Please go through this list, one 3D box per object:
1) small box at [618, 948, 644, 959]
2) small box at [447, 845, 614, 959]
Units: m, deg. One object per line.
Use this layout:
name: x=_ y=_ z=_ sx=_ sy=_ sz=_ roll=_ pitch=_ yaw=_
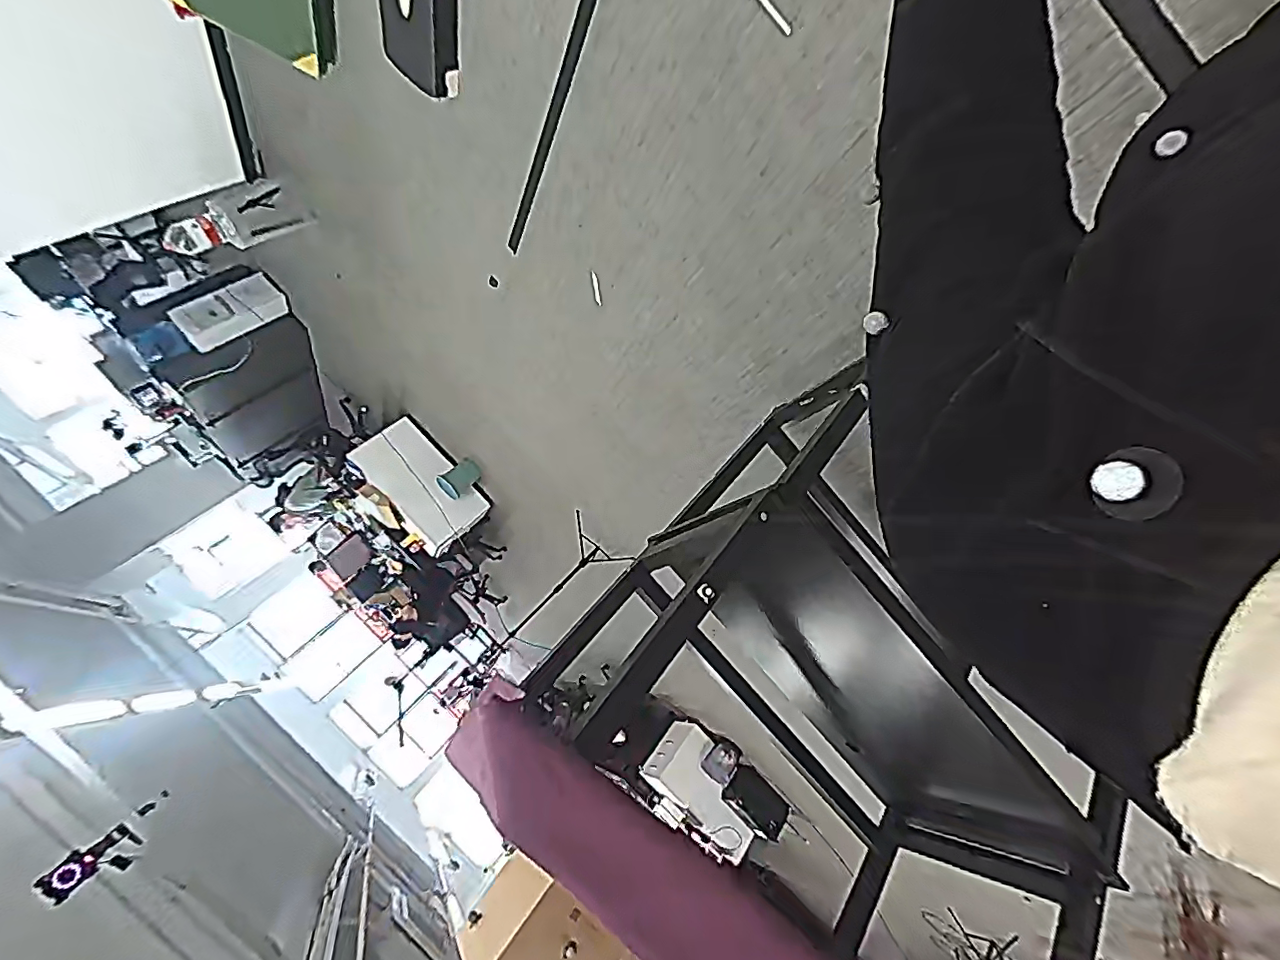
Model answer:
small box: x=0.013 y=0.913 z=0.860 sx=0.179 sy=0.176 sz=0.168 roll=50 pitch=150 yaw=-7
small box: x=-0.169 y=0.715 z=0.839 sx=0.168 sy=0.176 sz=0.179 roll=49 pitch=150 yaw=-8
